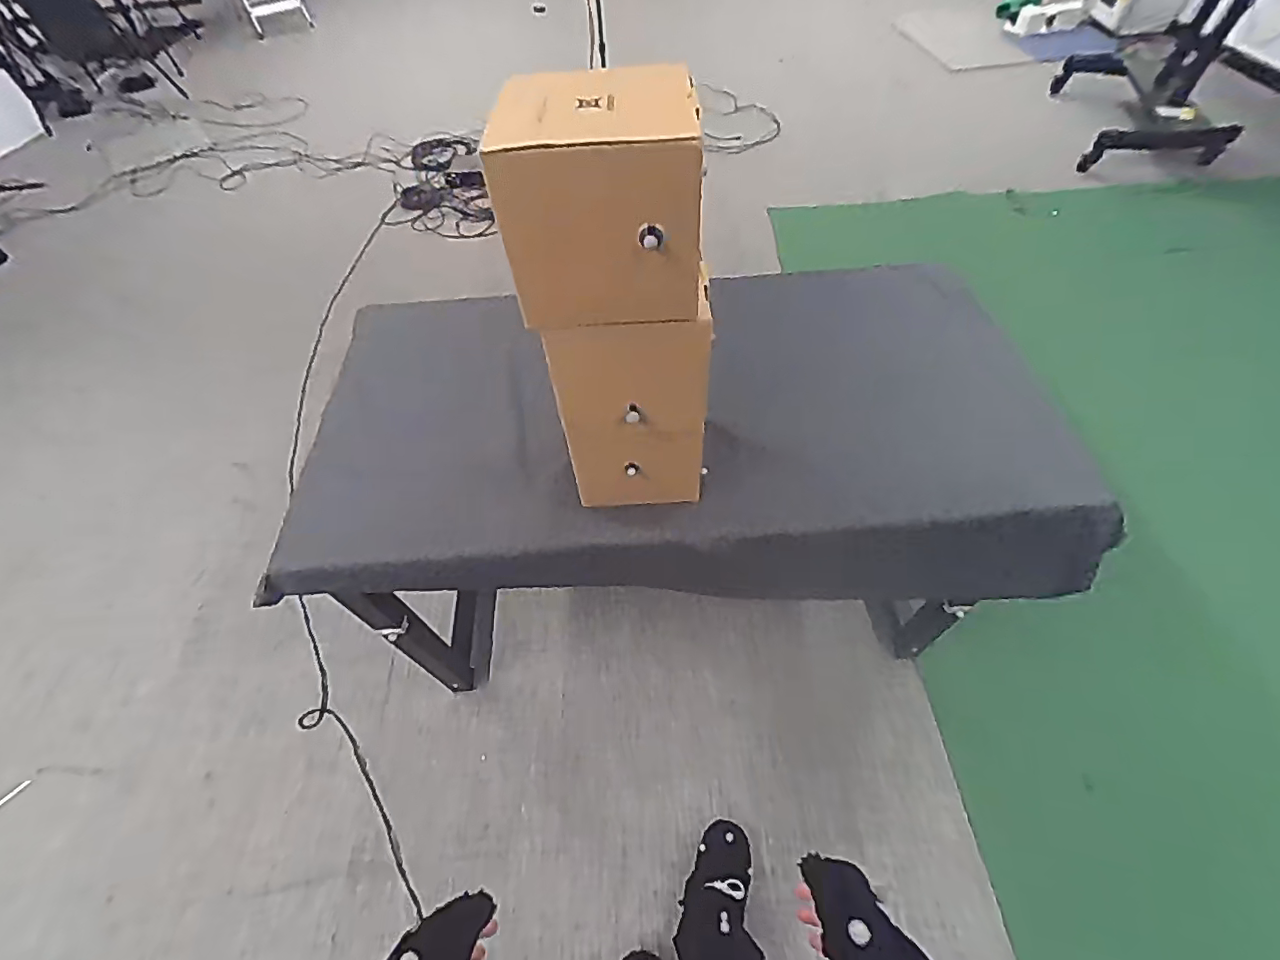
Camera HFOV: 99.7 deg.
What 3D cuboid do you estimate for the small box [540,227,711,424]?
[{"bbox_3d":[-0.014,-0.183,0.655,0.179,0.176,0.168,-2,55,1],"label":"small box"}]

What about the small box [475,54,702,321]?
[{"bbox_3d":[-0.036,-0.274,0.522,0.179,0.176,0.168,-4,54,3],"label":"small box"}]

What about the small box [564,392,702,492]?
[{"bbox_3d":[-0.005,-0.095,0.790,0.179,0.176,0.168,0,53,3],"label":"small box"}]
